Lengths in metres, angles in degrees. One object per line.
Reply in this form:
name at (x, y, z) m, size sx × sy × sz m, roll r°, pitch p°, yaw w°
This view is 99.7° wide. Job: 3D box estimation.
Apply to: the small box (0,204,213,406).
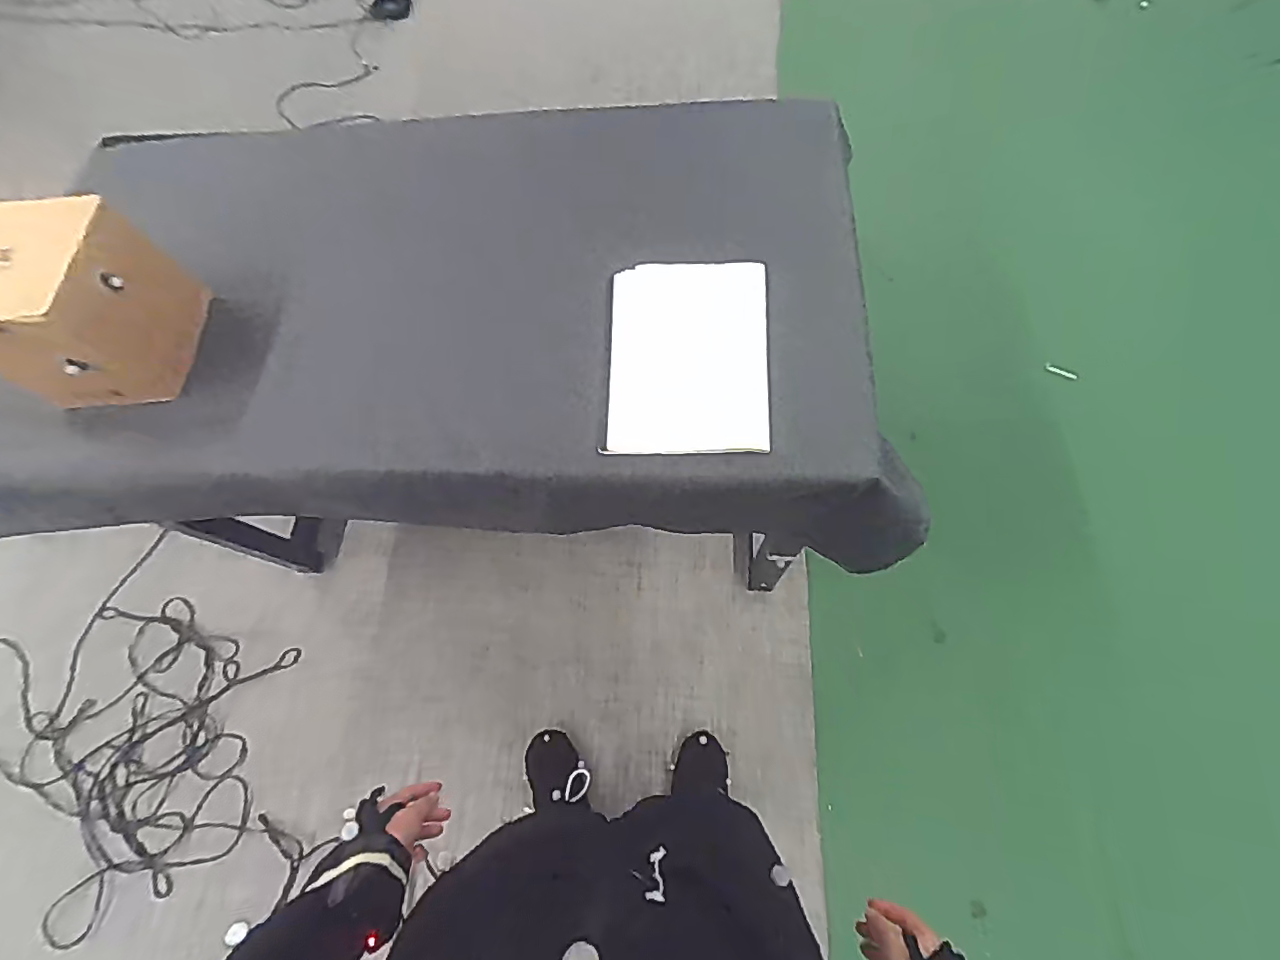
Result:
small box at (-0.681, -0.203, 0.666) m, size 0.168 × 0.176 × 0.179 m, roll -3°, pitch 66°, yaw 2°
